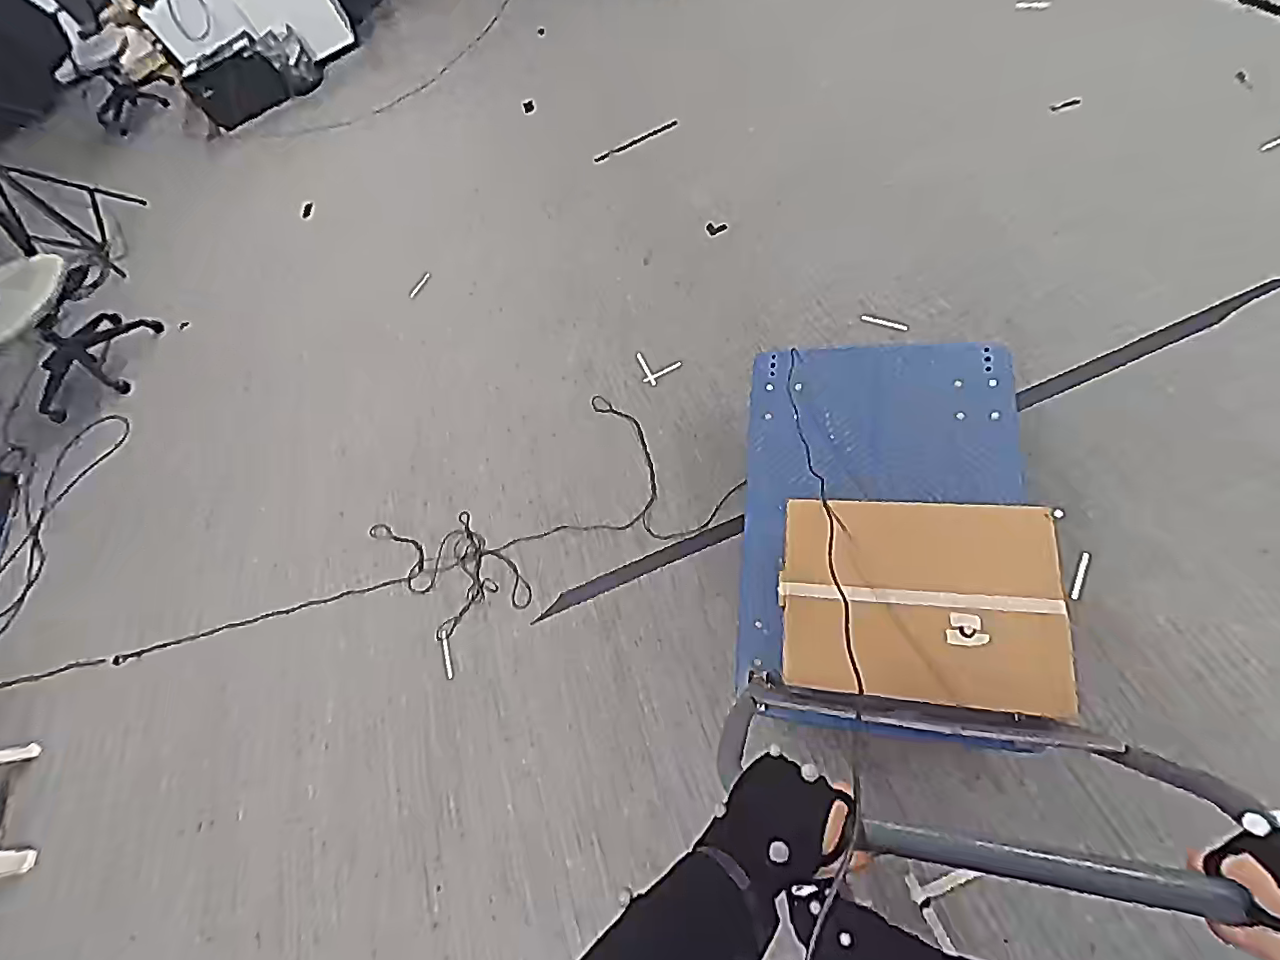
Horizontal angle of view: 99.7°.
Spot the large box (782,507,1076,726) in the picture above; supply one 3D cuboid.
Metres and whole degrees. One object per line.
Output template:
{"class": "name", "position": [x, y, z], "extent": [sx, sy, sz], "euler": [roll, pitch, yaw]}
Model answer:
{"class": "large box", "position": [0.470, 0.245, 0.988], "extent": [0.408, 0.320, 0.320], "euler": [2, 73, 15]}
